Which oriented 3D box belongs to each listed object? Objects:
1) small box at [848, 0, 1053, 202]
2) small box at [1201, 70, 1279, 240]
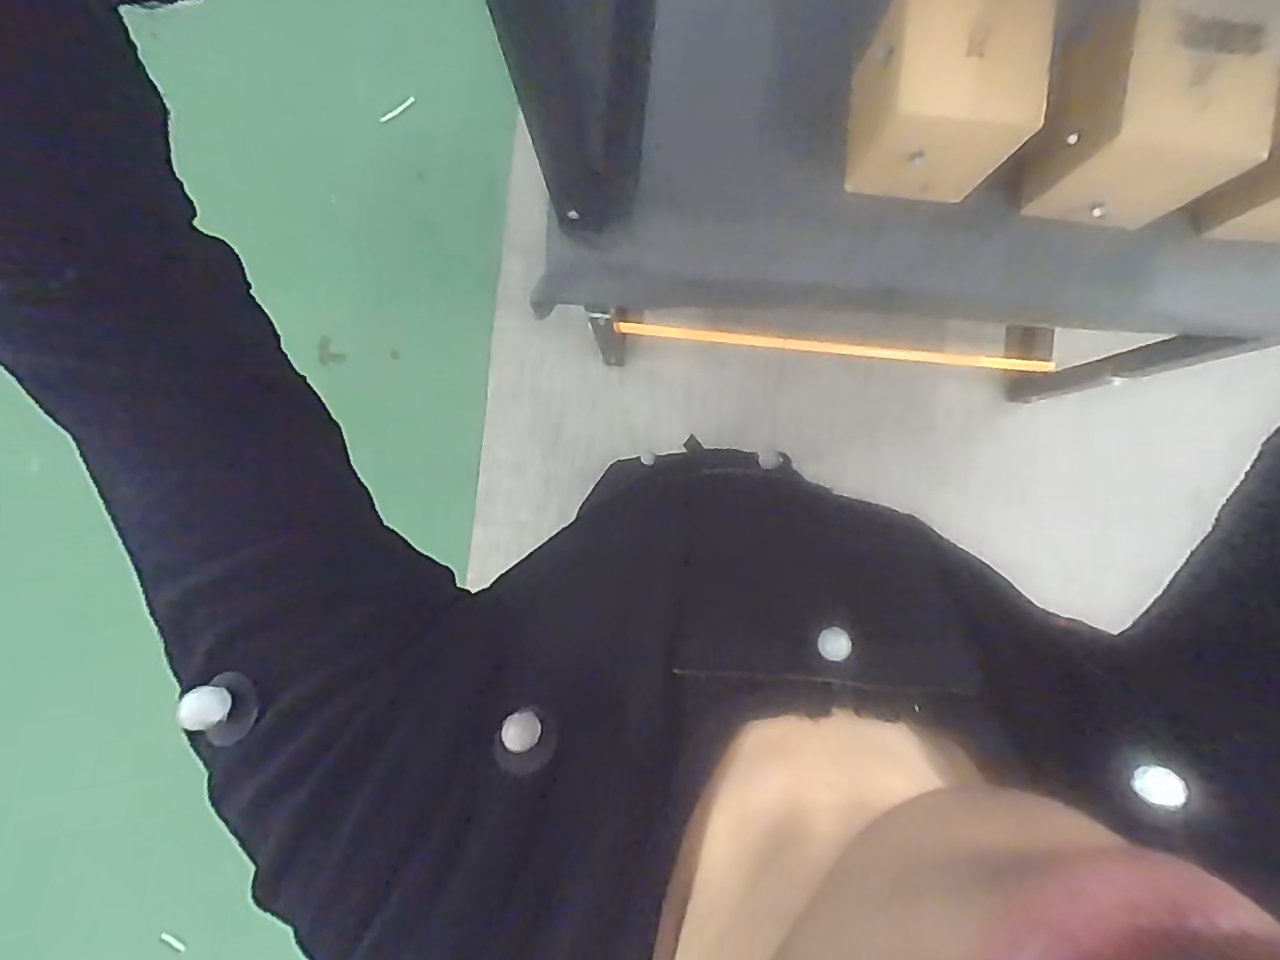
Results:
[{"bbox_3d":[0.380,-0.487,0.693,0.168,0.176,0.179,6,88,1],"label":"small box"},{"bbox_3d":[0.869,-0.421,0.679,0.168,0.176,0.179,5,87,1],"label":"small box"}]
